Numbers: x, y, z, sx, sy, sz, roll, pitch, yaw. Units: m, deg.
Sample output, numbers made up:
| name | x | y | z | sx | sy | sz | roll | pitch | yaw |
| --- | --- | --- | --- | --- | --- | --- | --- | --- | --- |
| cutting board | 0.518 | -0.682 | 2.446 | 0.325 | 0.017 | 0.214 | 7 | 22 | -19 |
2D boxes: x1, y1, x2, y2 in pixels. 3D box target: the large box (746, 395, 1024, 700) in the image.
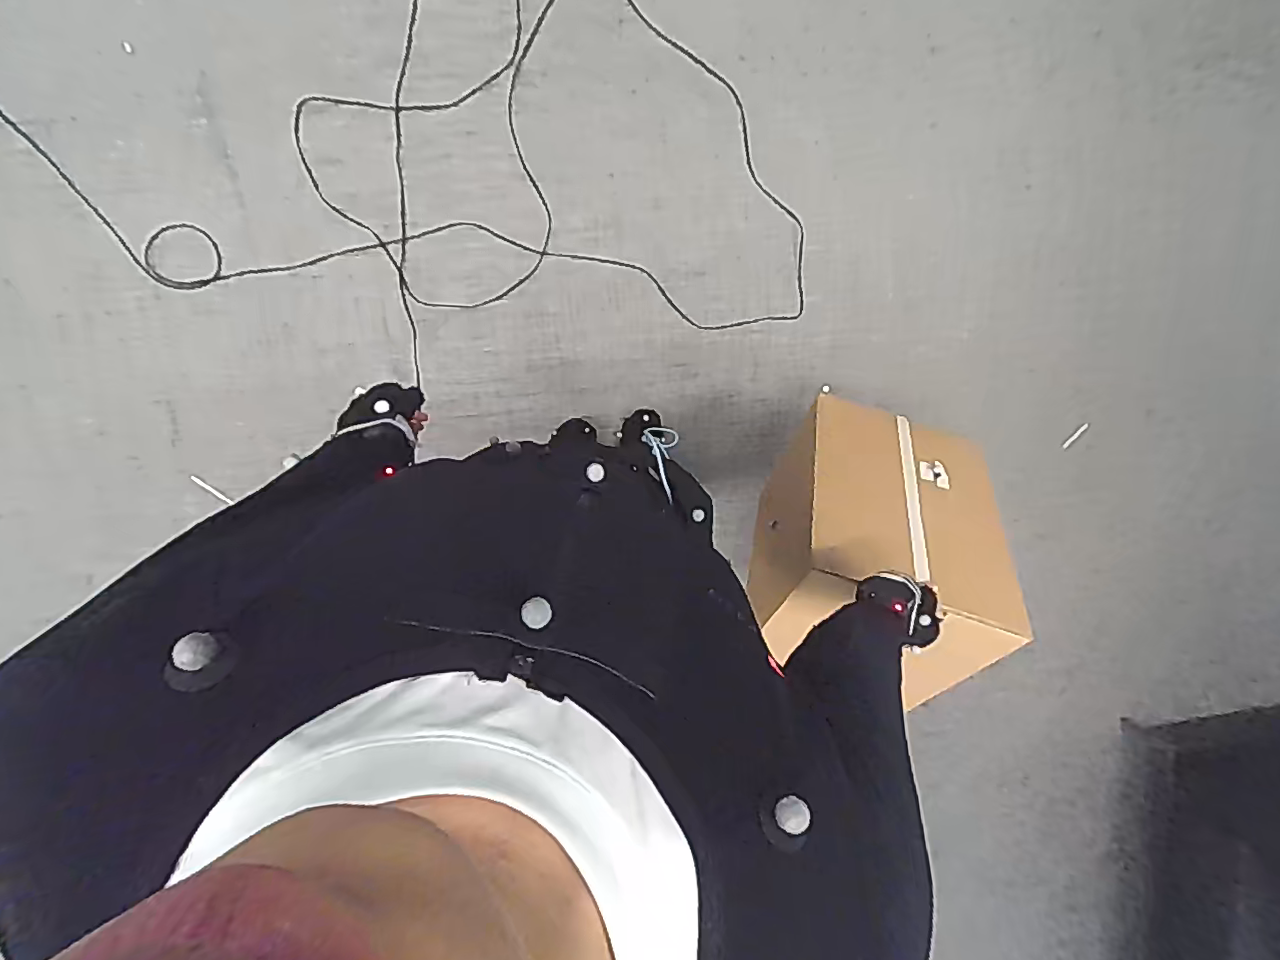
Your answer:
| name | x | y | z | sx | sy | sz | roll | pitch | yaw |
| --- | --- | --- | --- | --- | --- | --- | --- | --- | --- |
| large box | 0.400 | 0.118 | 0.984 | 0.320 | 0.408 | 0.320 | 18 | 137 | 1 |
